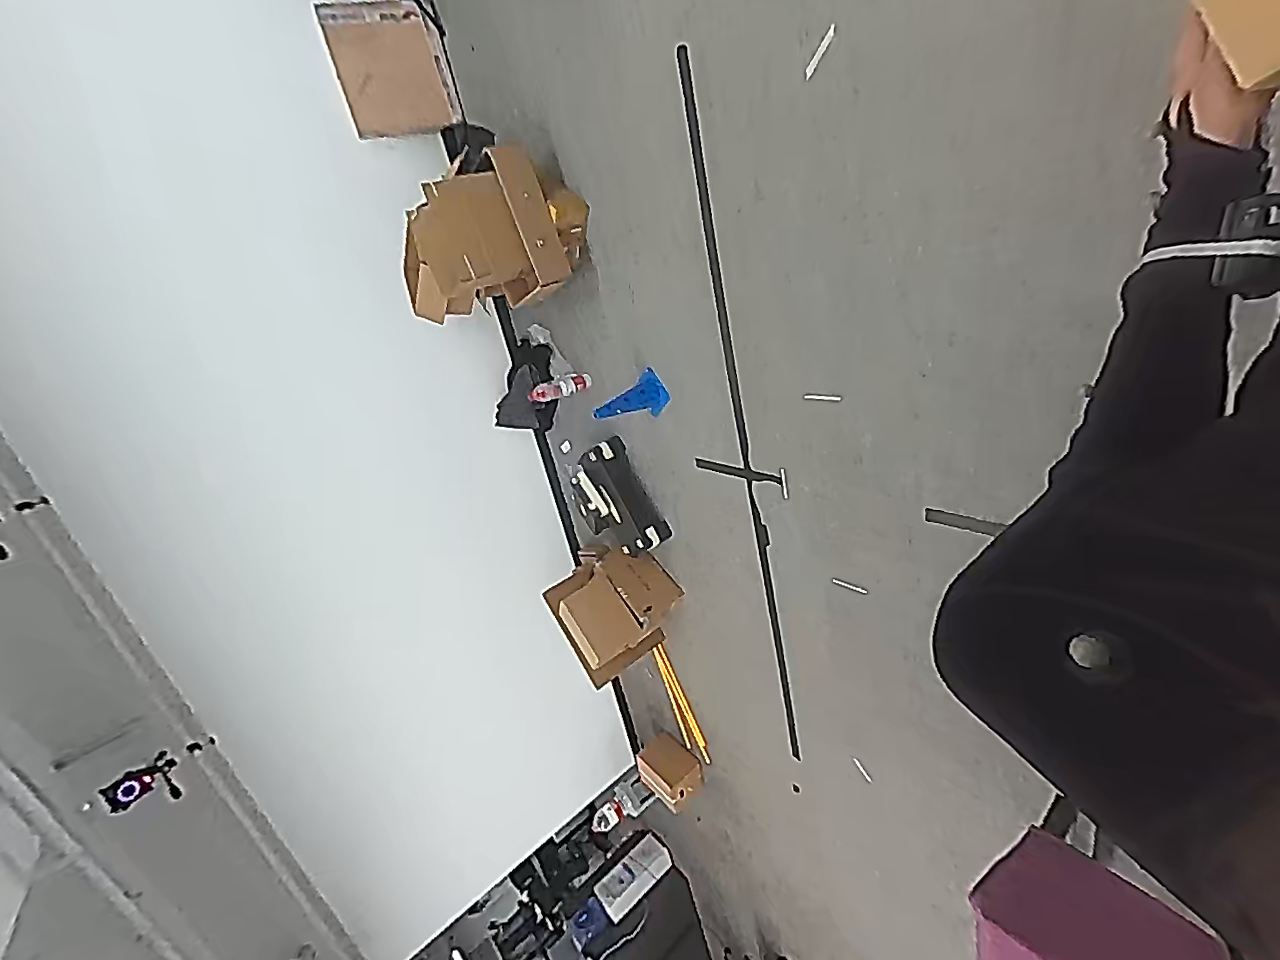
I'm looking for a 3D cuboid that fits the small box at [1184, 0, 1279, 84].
[{"bbox_3d":[0.416,-0.362,0.294,0.179,0.176,0.168,65,152,3],"label":"small box"}]
